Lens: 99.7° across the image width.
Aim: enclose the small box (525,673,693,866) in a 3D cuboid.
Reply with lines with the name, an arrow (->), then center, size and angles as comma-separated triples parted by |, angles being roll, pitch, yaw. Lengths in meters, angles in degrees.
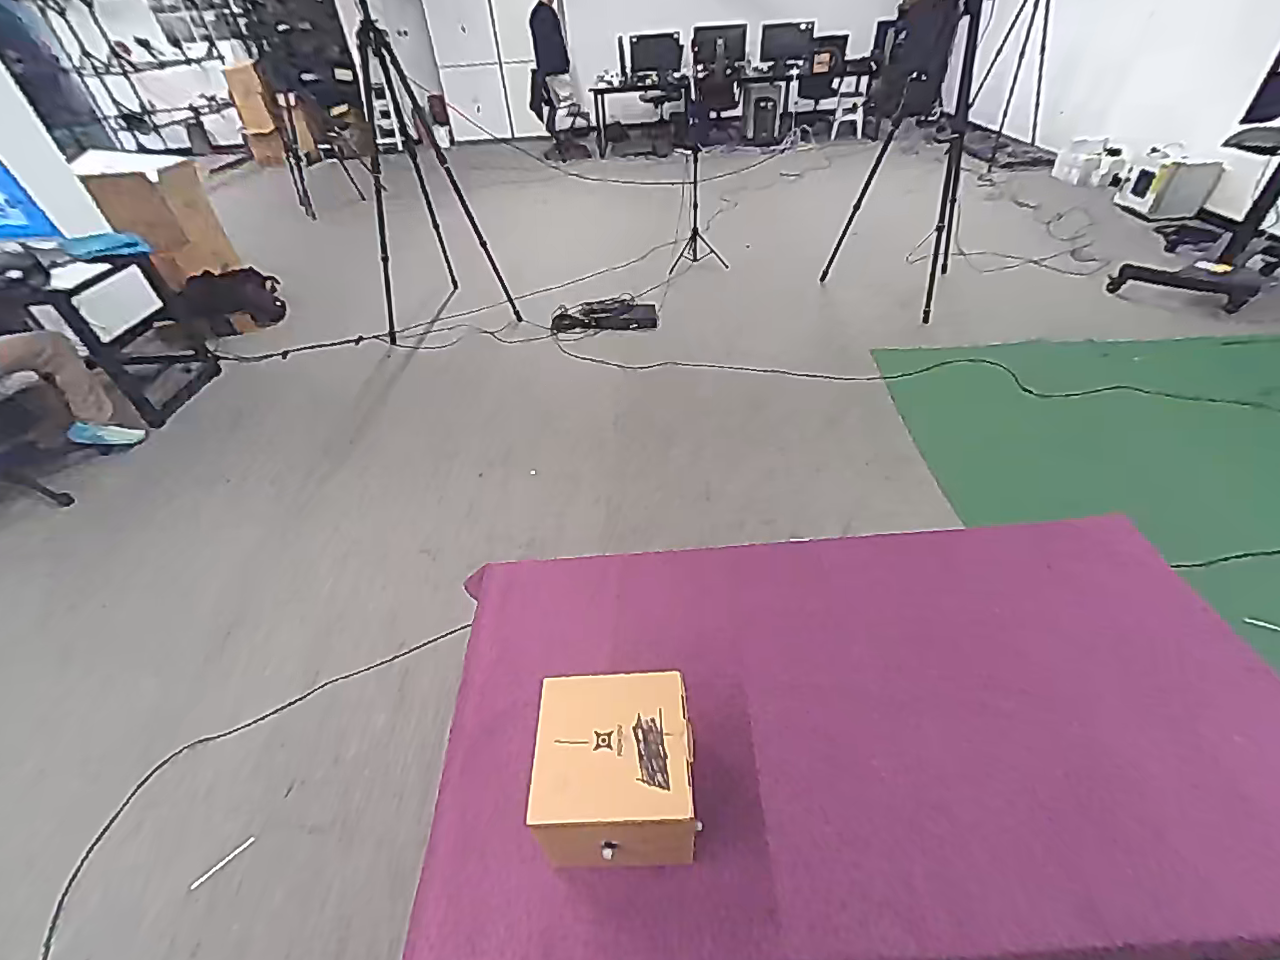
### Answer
small box -> -0.029, 0.359, 0.670 | 0.179, 0.176, 0.168 | -4, 41, 2
